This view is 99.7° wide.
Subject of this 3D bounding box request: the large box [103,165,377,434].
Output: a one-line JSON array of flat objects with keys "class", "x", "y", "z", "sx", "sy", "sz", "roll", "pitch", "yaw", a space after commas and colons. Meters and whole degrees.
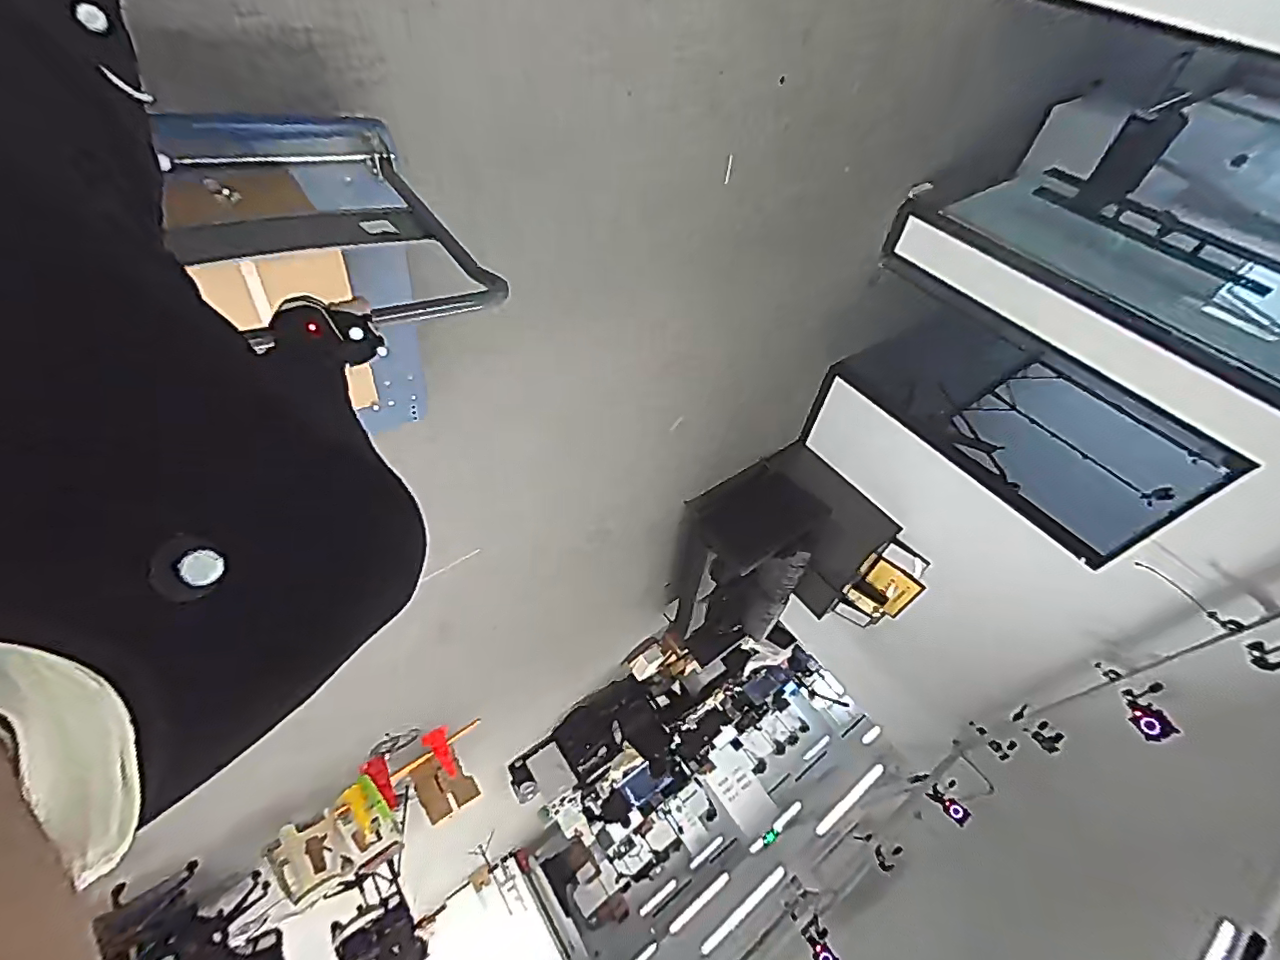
[{"class": "large box", "x": -0.806, "y": -0.379, "z": 1.138, "sx": 0.320, "sy": 0.320, "sz": 0.408, "roll": -24, "pitch": 149, "yaw": -29}]
